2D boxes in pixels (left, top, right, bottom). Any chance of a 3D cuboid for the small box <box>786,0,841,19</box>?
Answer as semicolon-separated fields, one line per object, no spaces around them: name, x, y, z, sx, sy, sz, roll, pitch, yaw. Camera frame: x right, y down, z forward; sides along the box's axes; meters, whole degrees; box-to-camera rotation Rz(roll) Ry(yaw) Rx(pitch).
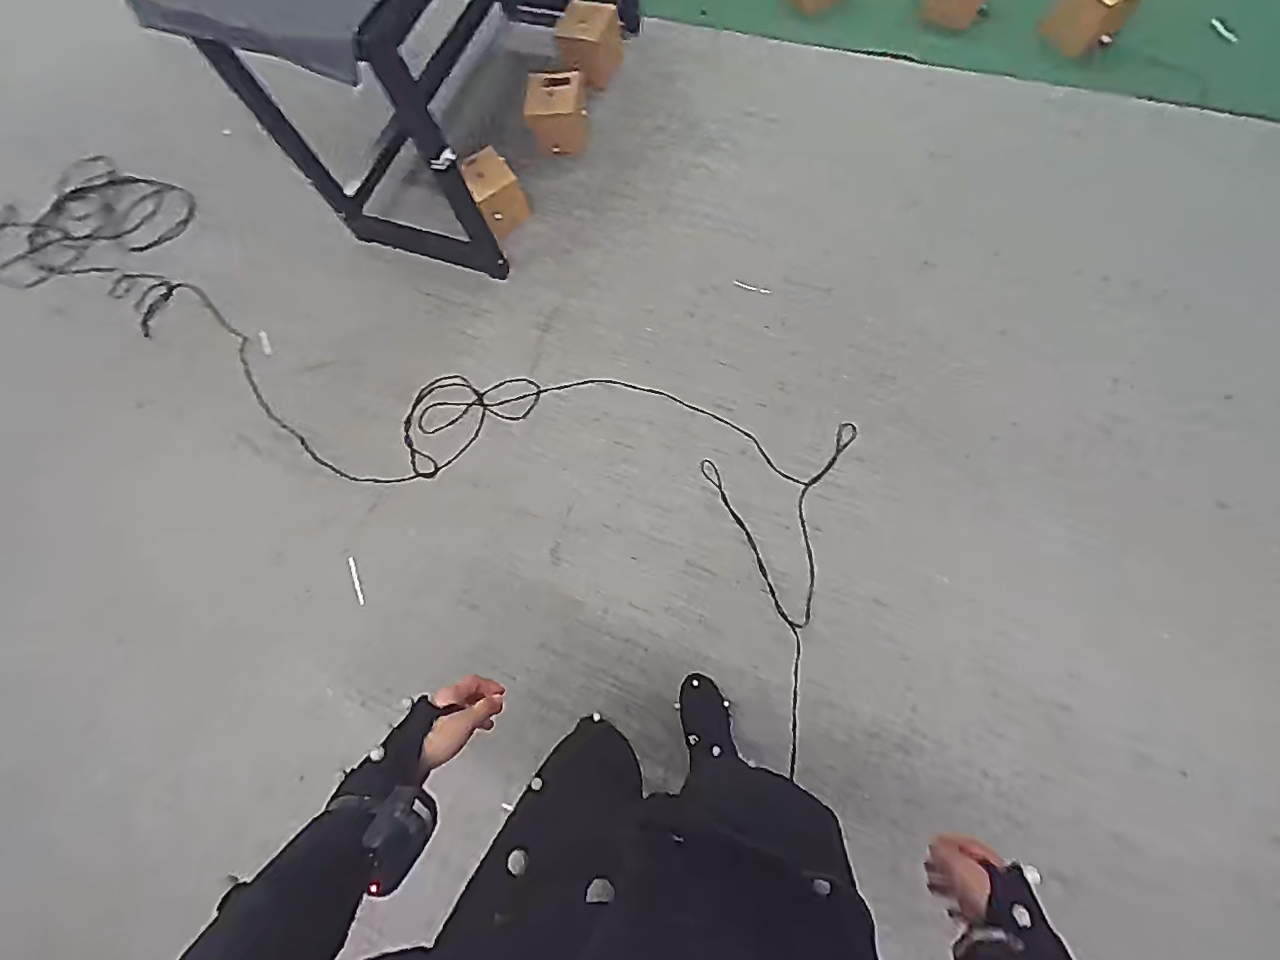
small box;0.611;-1.757;1.870;0.179;0.176;0.168;-34;72;-4

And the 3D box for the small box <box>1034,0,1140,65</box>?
small box;1.390;-1.454;1.686;0.168;0.176;0.179;-27;73;-3

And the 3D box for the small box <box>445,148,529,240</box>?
small box;-0.479;-0.899;1.724;0.168;0.176;0.179;-35;72;-5

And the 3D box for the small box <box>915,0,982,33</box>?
small box;1.043;-1.628;1.780;0.179;0.176;0.168;29;79;13

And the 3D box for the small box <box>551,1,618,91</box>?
small box;-0.184;-1.499;1.875;0.168;0.176;0.179;19;75;11
